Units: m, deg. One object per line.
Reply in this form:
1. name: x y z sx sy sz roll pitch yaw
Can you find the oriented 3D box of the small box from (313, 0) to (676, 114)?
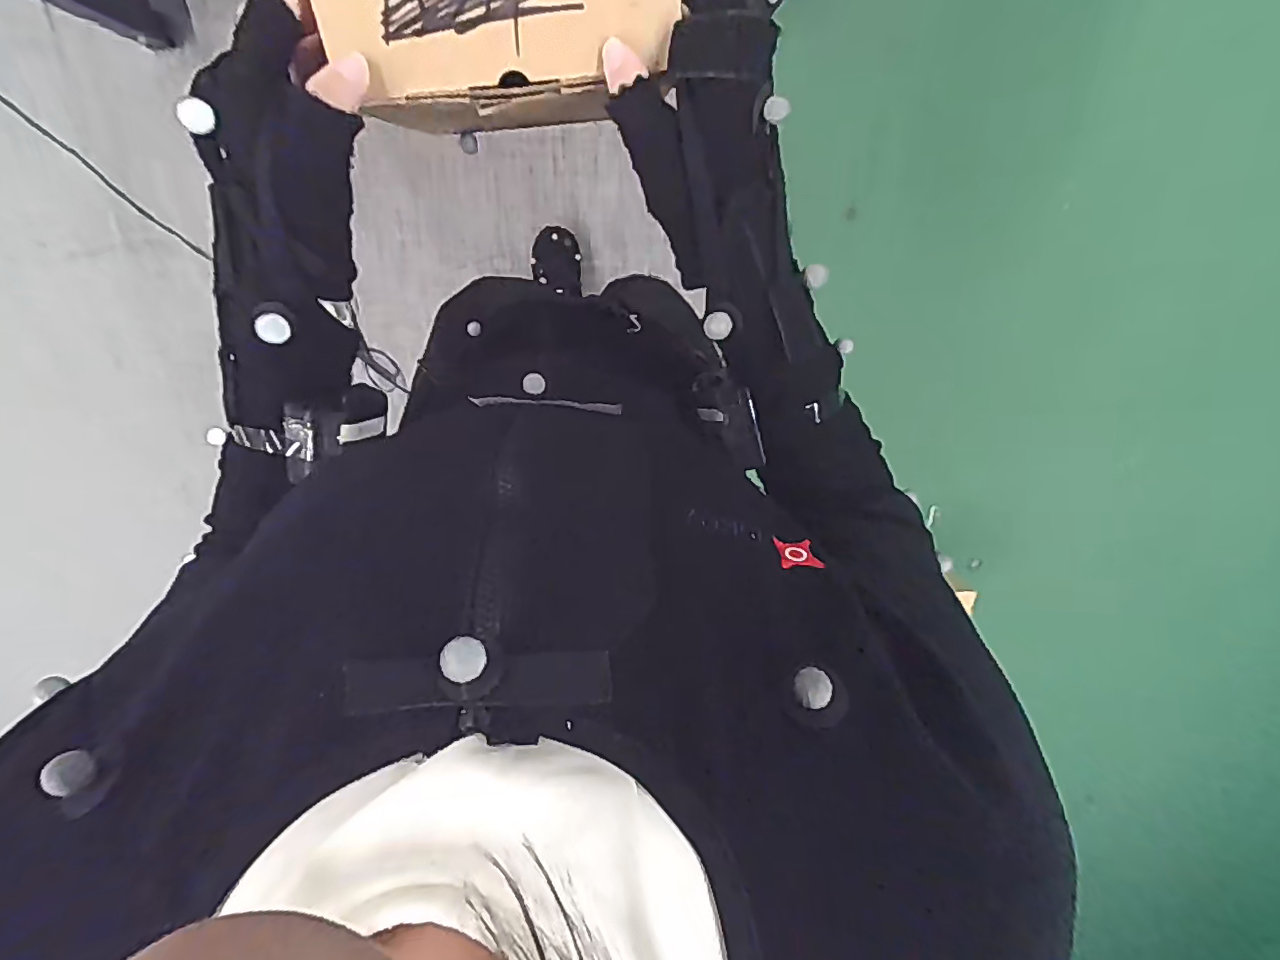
1. small box: -0.074 -0.308 0.286 0.168 0.176 0.179 -6 118 -2
